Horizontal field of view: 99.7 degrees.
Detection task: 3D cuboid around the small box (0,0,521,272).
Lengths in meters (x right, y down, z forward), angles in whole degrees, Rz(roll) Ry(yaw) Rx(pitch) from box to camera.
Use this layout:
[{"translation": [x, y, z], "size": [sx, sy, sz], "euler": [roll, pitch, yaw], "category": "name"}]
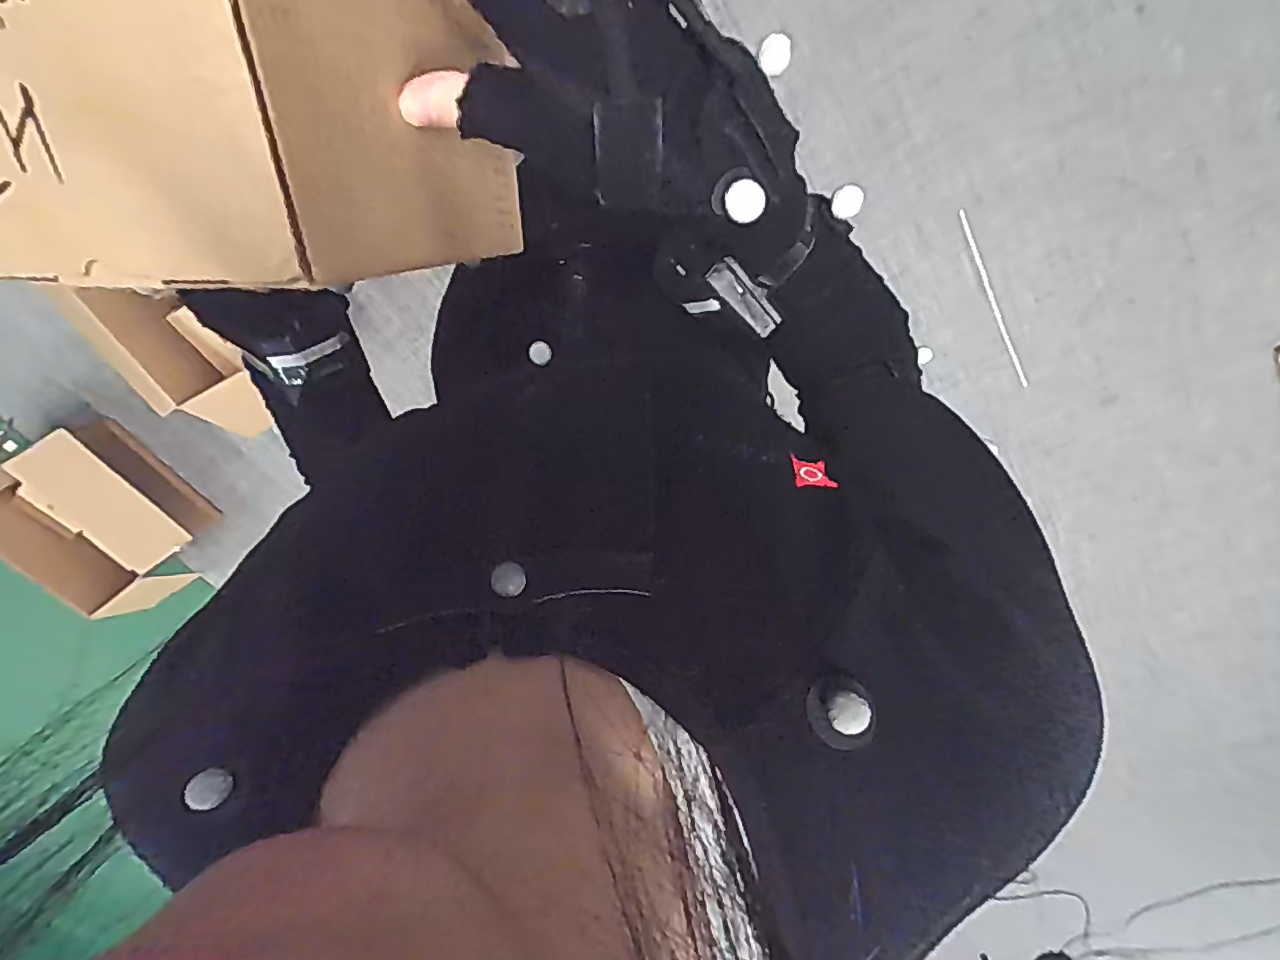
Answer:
[{"translation": [-0.161, -0.184, 0.214], "size": [0.168, 0.176, 0.179], "euler": [5, 118, 11], "category": "small box"}]
